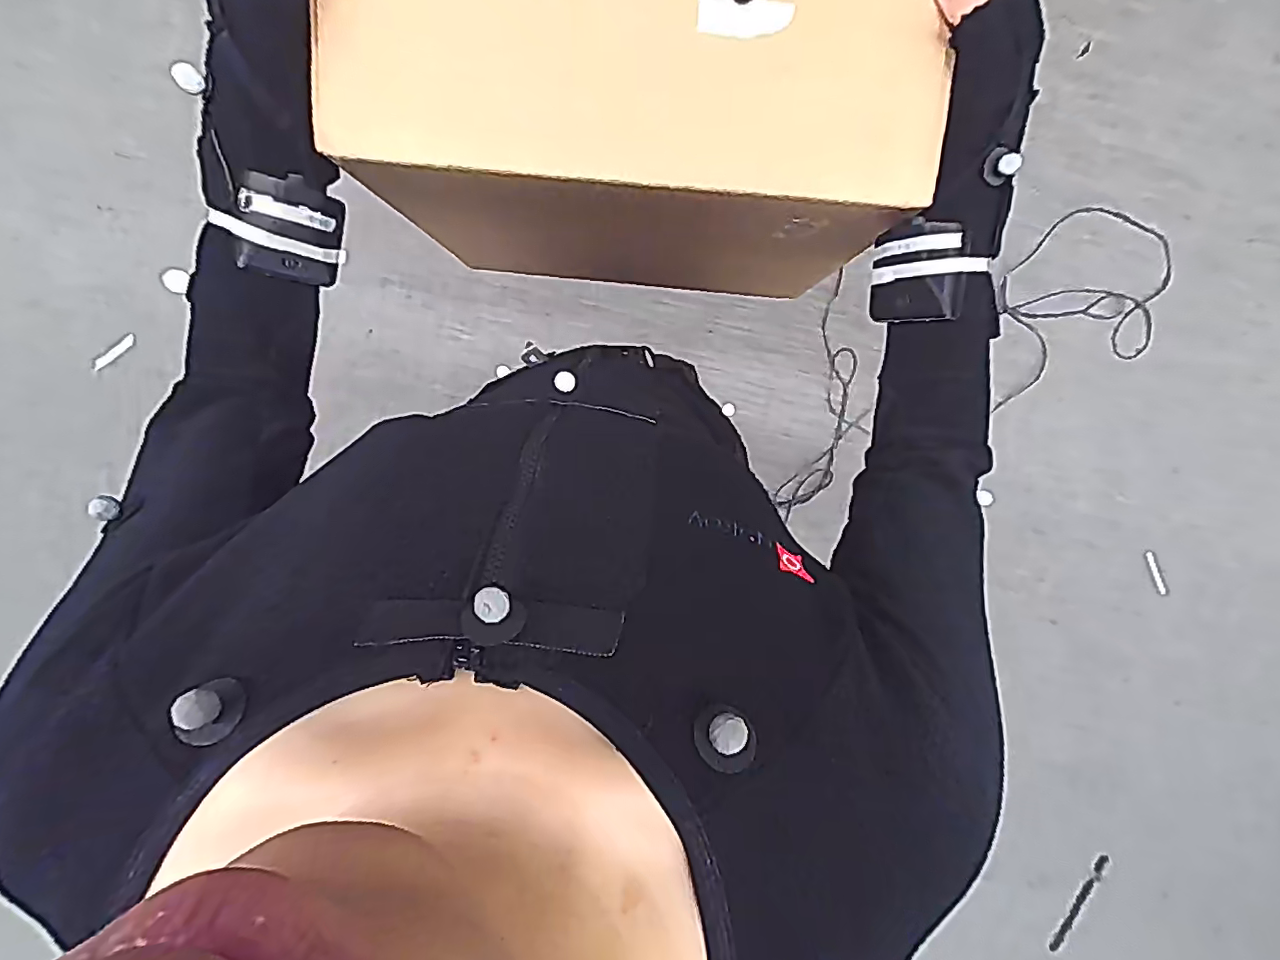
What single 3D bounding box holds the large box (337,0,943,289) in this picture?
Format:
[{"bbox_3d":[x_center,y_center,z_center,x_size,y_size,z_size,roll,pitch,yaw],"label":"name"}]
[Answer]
[{"bbox_3d":[0.002,-0.376,0.496,0.408,0.320,0.320,4,98,-1],"label":"large box"}]
